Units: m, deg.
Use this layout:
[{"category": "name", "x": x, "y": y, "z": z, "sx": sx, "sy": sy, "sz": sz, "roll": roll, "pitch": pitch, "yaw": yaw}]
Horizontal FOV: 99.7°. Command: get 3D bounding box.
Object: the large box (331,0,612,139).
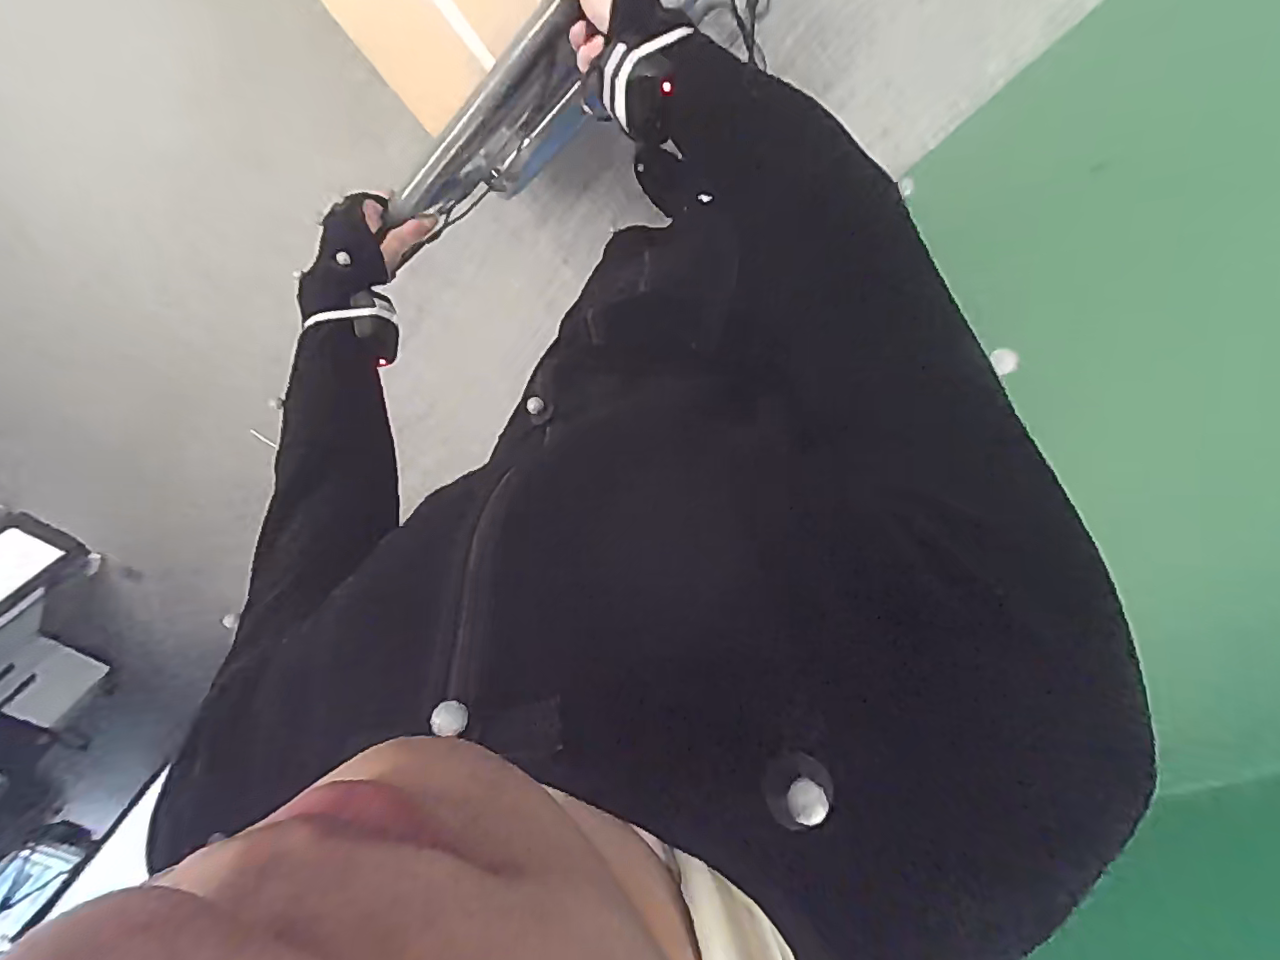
[{"category": "large box", "x": -0.310, "y": -0.864, "z": 0.888, "sx": 0.320, "sy": 0.320, "sz": 0.408, "roll": -28, "pitch": 116, "yaw": 28}]
